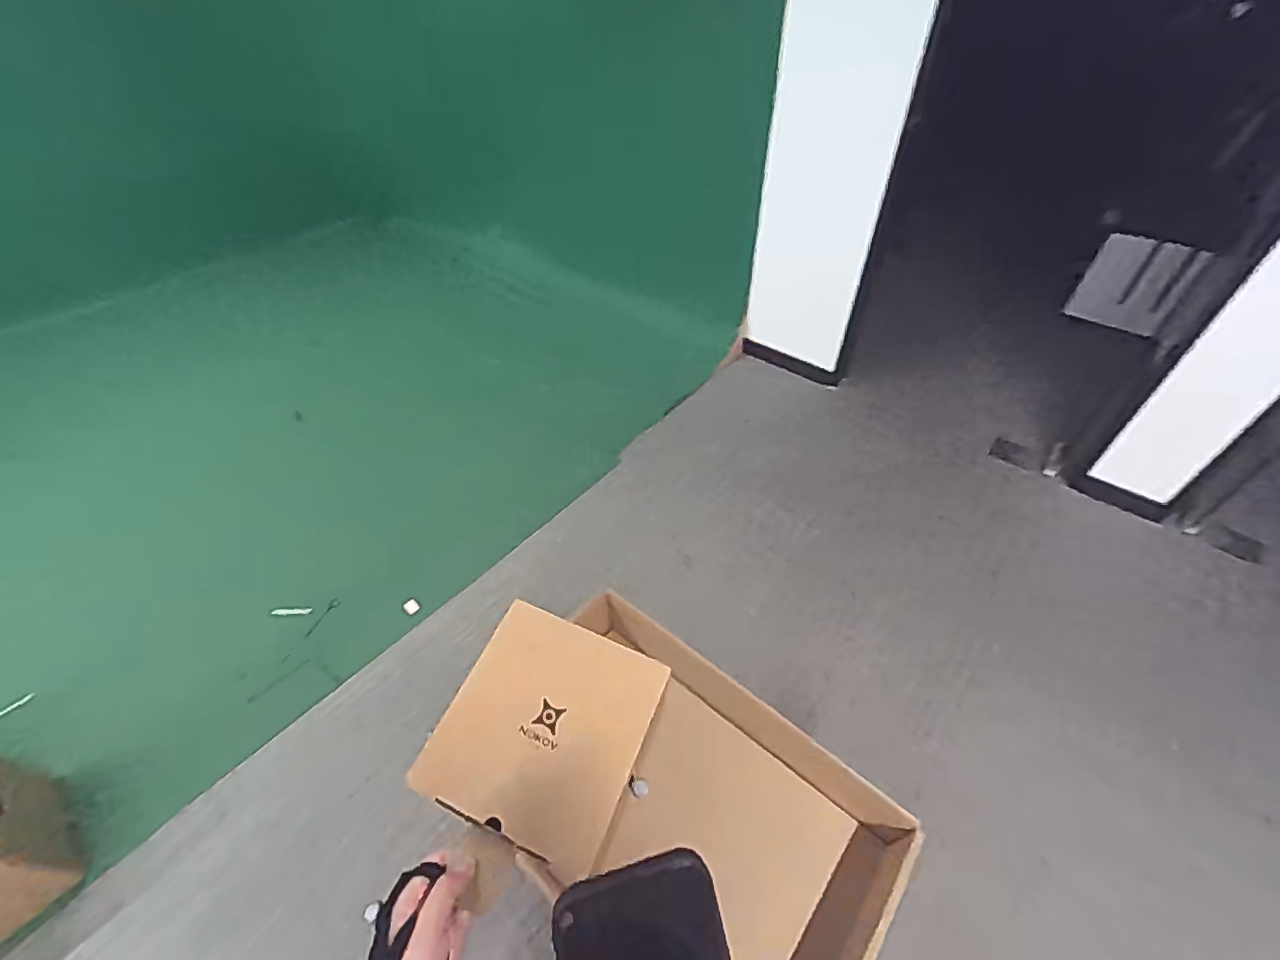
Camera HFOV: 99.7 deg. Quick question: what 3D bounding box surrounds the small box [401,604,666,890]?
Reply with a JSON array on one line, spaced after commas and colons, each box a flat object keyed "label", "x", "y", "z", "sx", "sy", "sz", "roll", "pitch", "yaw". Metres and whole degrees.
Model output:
[{"label": "small box", "x": -0.087, "y": 0.256, "z": 0.523, "sx": 0.168, "sy": 0.176, "sz": 0.179, "roll": 20, "pitch": 57, "yaw": 12}]
